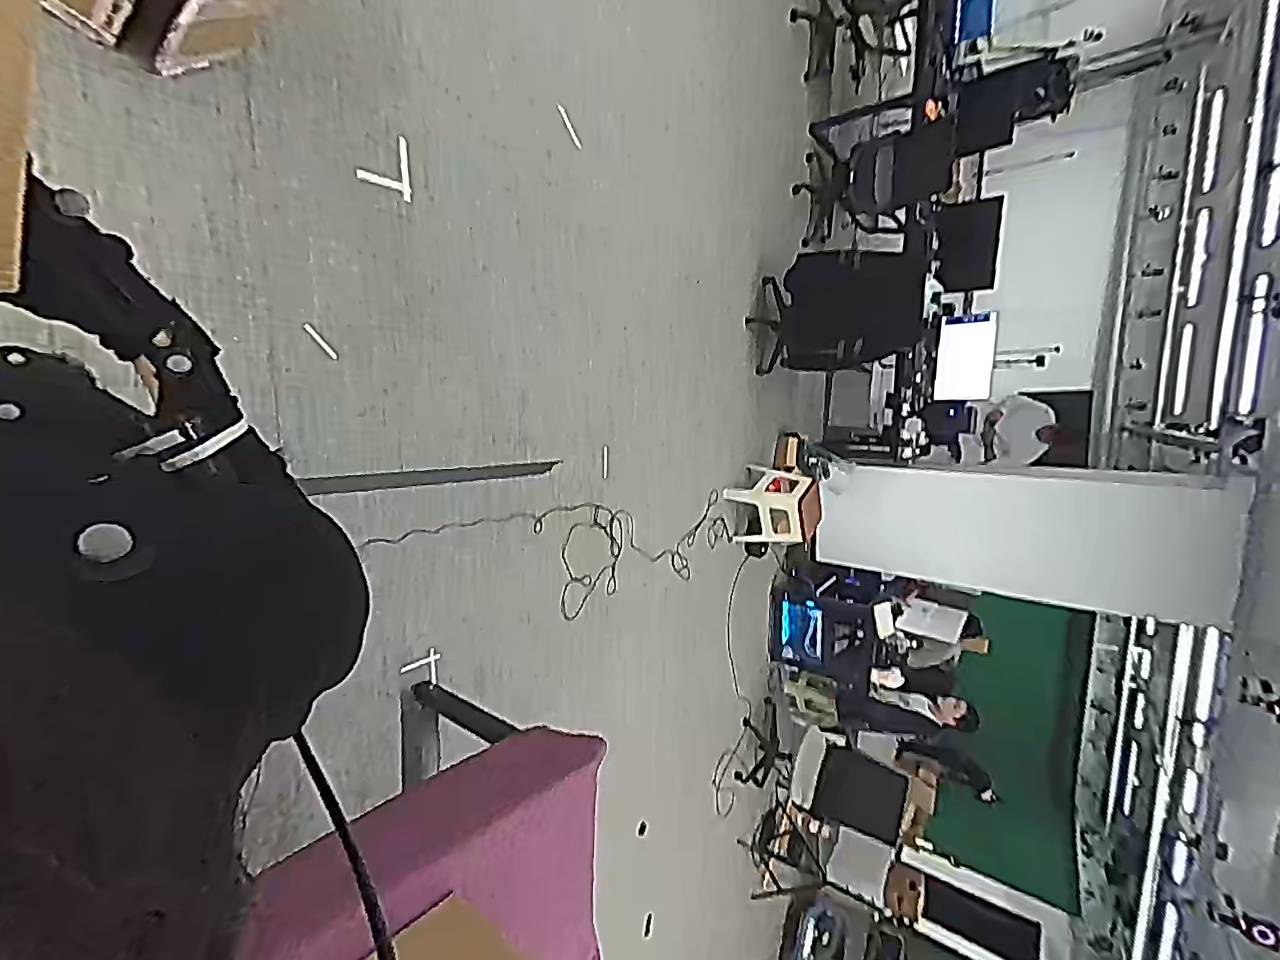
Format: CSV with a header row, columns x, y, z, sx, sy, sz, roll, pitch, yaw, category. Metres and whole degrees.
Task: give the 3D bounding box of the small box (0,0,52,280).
x,y,z,sx,sy,sz,roll,pitch,yaw,category
-0.382,-0.199,0.193,0.176,0.168,0.179,51,29,4,small box
